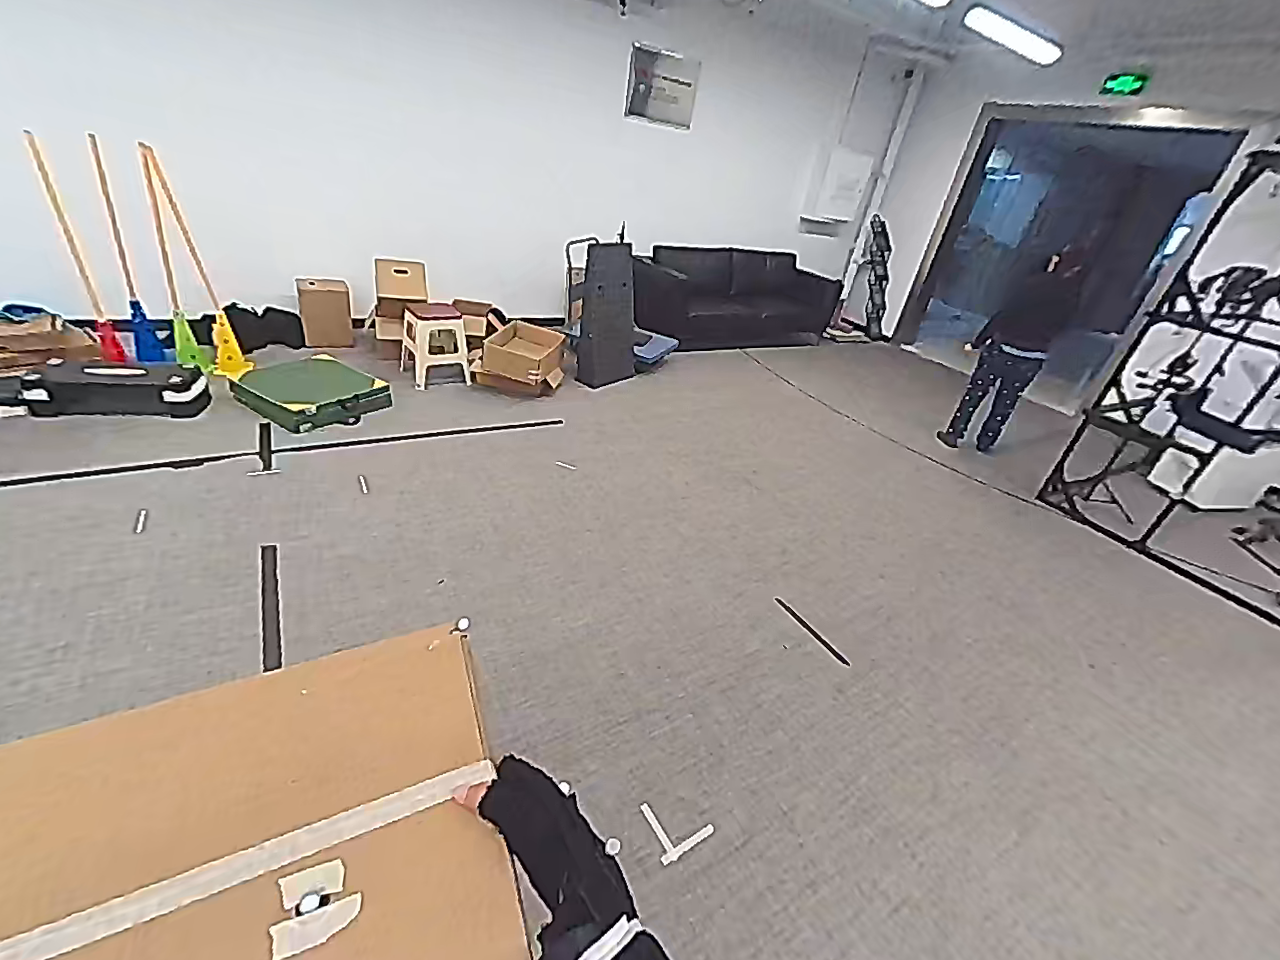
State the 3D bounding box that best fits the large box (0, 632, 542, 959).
[{"bbox_3d":[-0.332,0.410,0.523,0.408,0.320,0.320,-11,50,-22],"label":"large box"}]
